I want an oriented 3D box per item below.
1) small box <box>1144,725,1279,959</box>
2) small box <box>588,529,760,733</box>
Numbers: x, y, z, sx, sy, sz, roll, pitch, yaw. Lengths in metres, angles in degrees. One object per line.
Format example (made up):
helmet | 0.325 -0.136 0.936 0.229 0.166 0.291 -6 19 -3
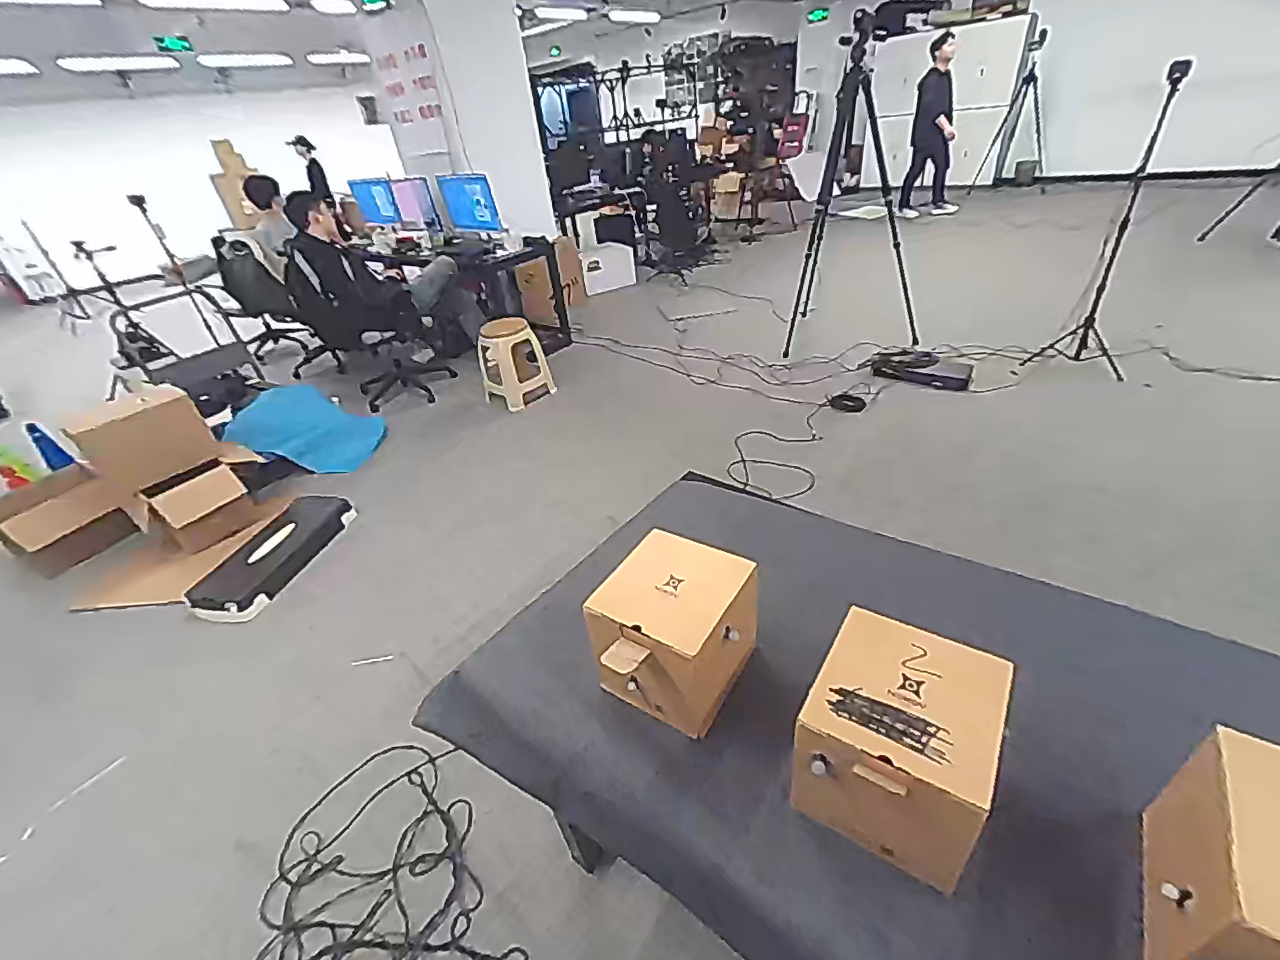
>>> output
small box | 0.540 0.348 0.430 0.168 0.176 0.179 17 40 32
small box | 0.052 0.202 0.745 0.168 0.176 0.179 16 41 30
